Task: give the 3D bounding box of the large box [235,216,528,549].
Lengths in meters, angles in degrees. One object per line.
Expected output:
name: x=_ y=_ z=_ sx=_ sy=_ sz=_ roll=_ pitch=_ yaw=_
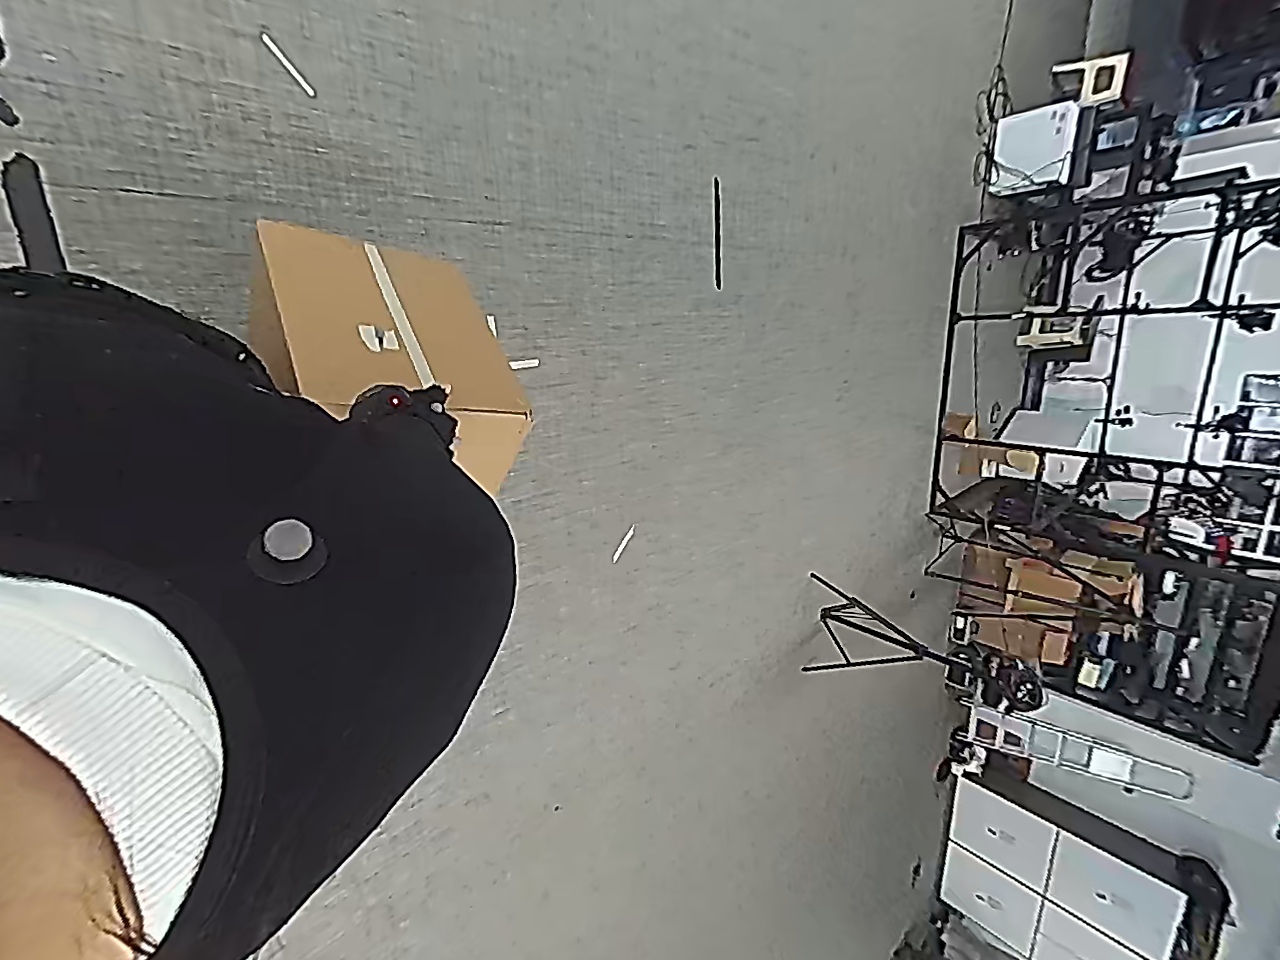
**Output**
large box: x=-0.447 y=-0.148 z=0.894 sx=0.320 sy=0.408 sz=0.320 roll=-4 pitch=144 yaw=-41
